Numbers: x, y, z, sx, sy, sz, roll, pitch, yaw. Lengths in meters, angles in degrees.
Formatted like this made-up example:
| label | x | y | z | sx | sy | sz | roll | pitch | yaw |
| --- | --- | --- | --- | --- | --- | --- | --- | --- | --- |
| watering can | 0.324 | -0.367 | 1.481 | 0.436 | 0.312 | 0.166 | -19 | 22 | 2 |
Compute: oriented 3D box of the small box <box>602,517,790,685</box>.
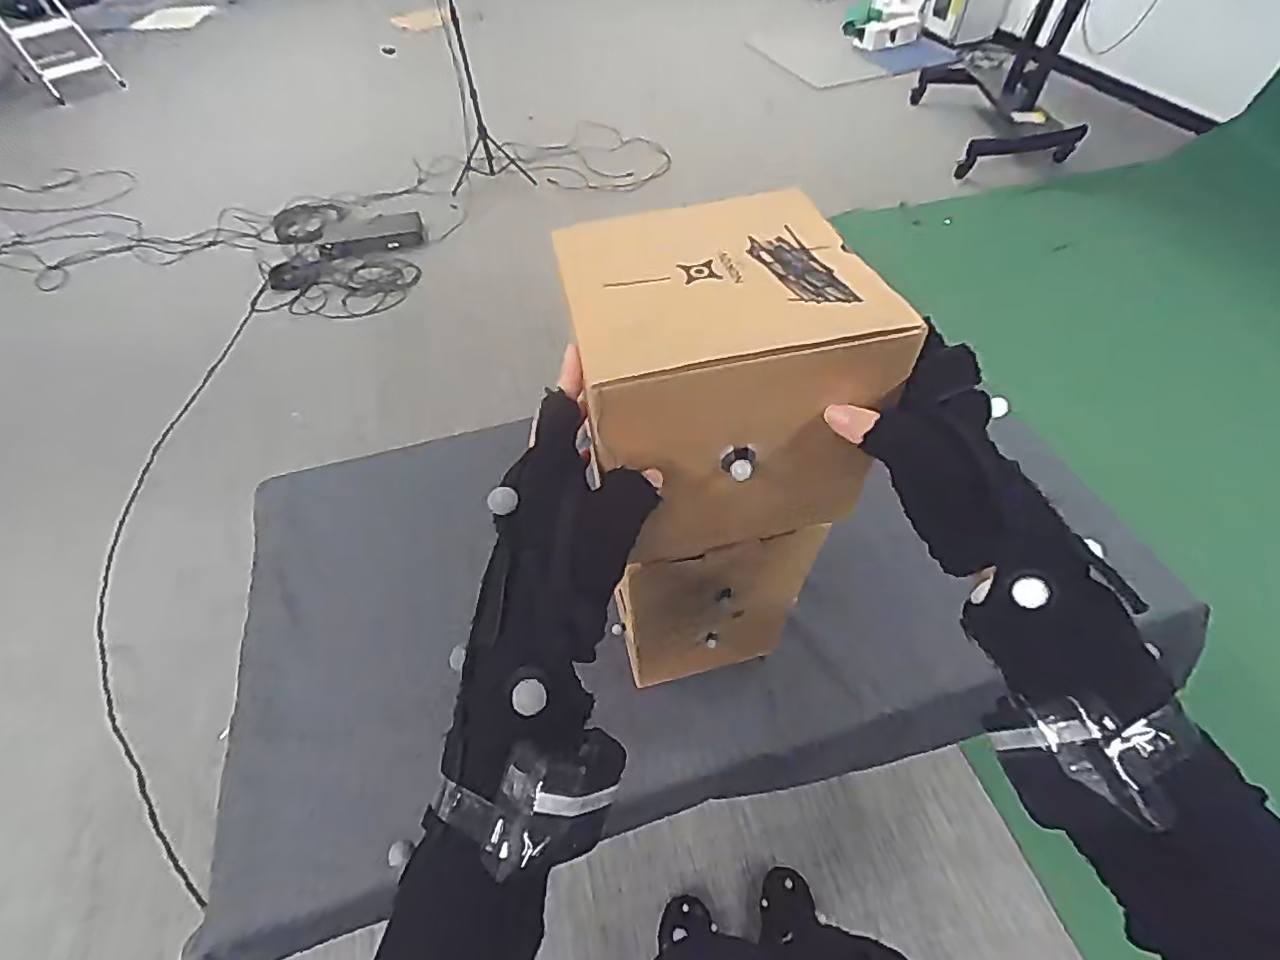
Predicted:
| label | x | y | z | sx | sy | sz | roll | pitch | yaw |
| --- | --- | --- | --- | --- | --- | --- | --- | --- | --- |
| small box | 0.060 | 0.135 | 0.669 | 0.179 | 0.176 | 0.168 | -12 | 54 | -8 |

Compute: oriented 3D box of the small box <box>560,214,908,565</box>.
| label | x | y | z | sx | sy | sz | roll | pitch | yaw |
| --- | --- | --- | --- | --- | --- | --- | --- | --- | --- |
| small box | 0.048 | -0.062 | 0.390 | 0.179 | 0.176 | 0.168 | -11 | 50 | -5 |

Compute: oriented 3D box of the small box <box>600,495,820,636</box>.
| label | x | y | z | sx | sy | sz | roll | pitch | yaw |
| --- | --- | --- | --- | --- | --- | --- | --- | --- | --- |
| small box | 0.052 | 0.039 | 0.536 | 0.168 | 0.176 | 0.179 | -12 | 55 | -7 |
